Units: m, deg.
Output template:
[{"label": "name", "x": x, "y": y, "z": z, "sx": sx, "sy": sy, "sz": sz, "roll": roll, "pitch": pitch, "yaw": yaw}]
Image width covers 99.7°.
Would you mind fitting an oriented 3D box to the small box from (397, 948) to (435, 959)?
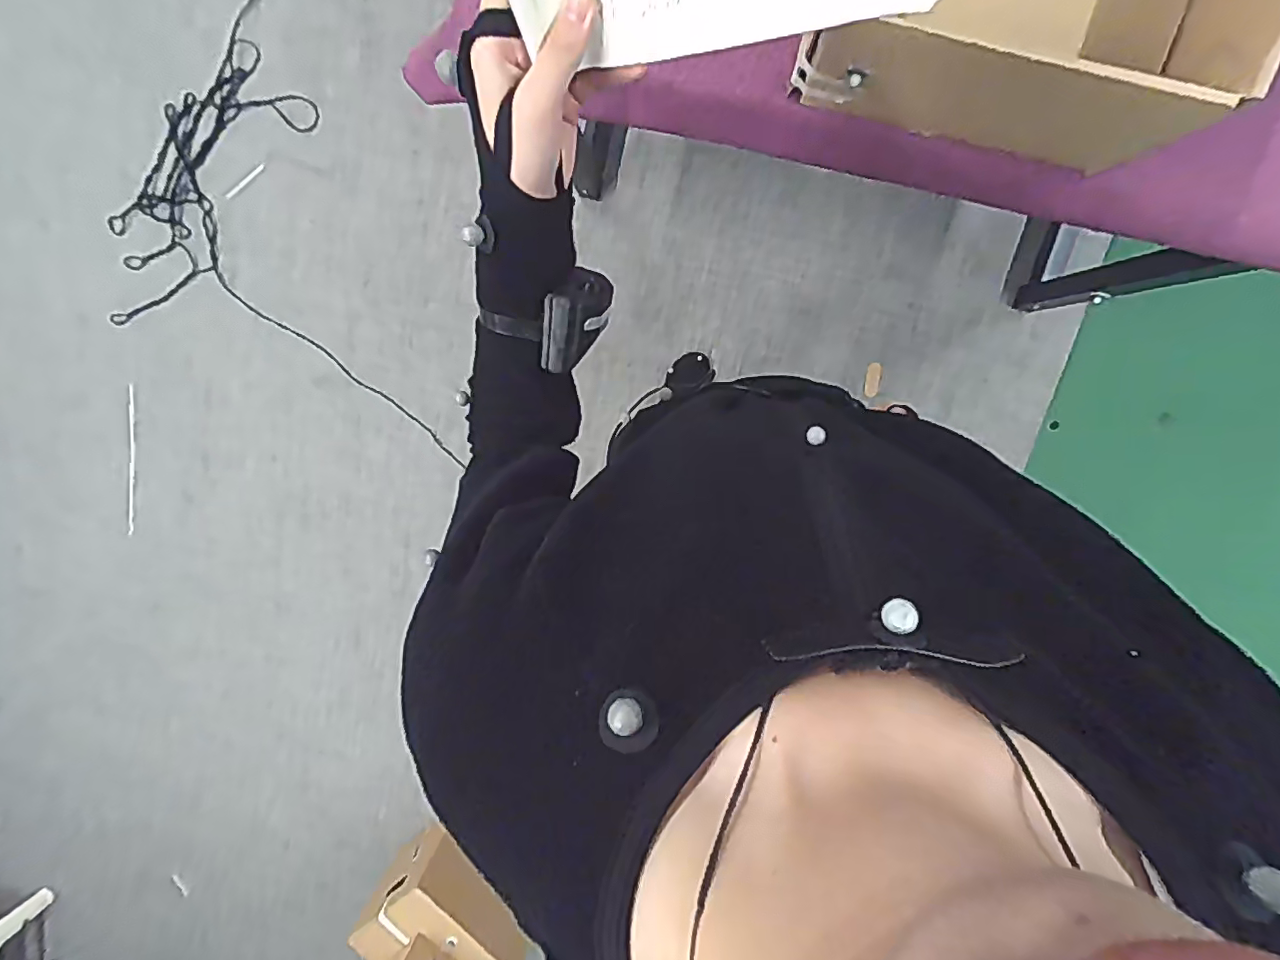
[{"label": "small box", "x": -0.621, "y": 1.395, "z": 1.425, "sx": 0.179, "sy": 0.176, "sz": 0.168, "roll": 43, "pitch": 102, "yaw": -3}]
